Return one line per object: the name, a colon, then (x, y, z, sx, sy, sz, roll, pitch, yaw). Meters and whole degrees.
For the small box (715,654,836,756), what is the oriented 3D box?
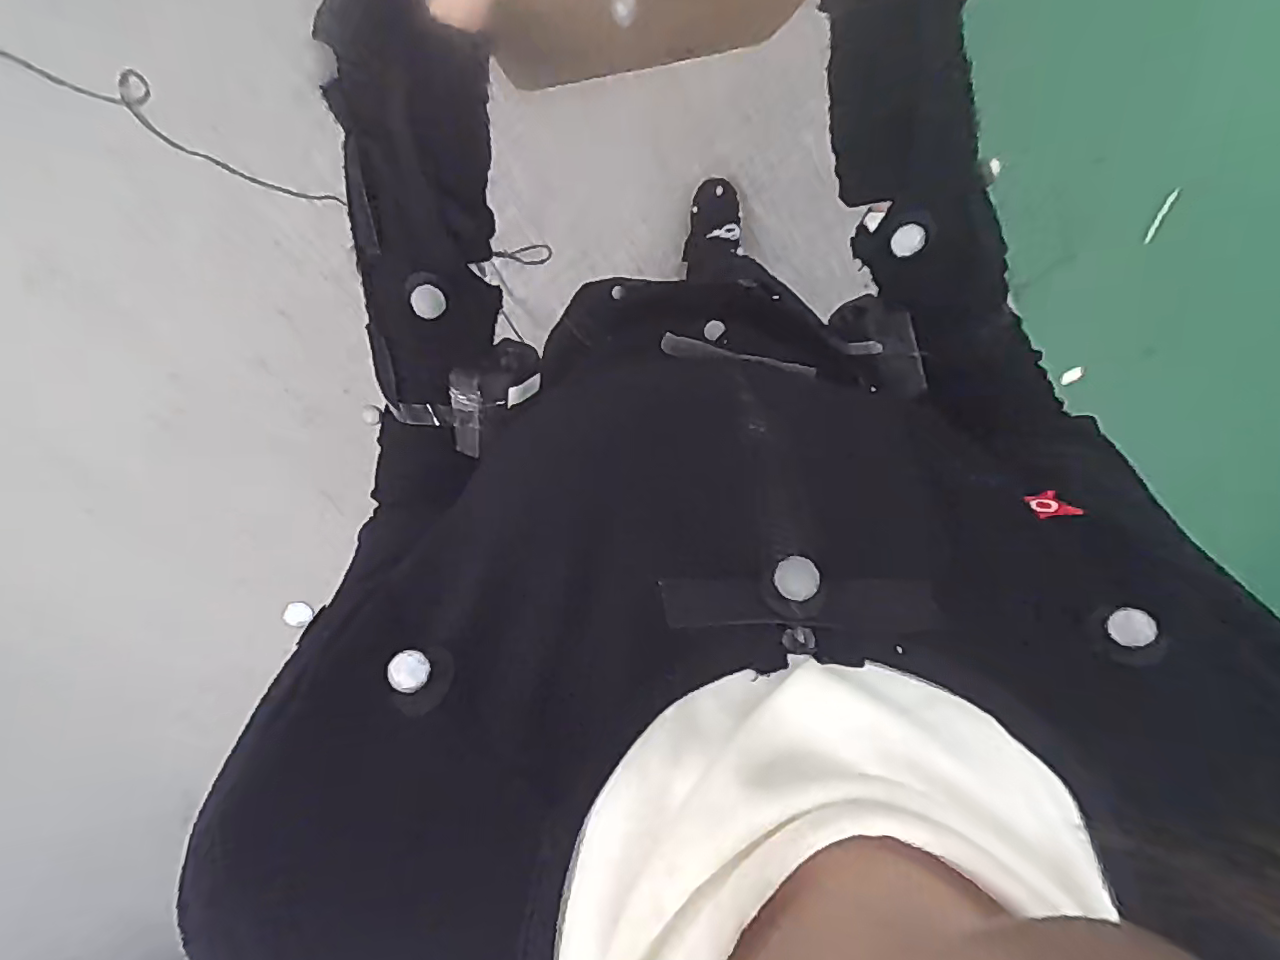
small box: (0.284, 0.514, 1.164, 0.168, 0.176, 0.179, -37, 108, 12)

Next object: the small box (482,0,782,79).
small box: (-0.011, -0.312, 0.231, 0.168, 0.176, 0.179, -11, 114, 2)
